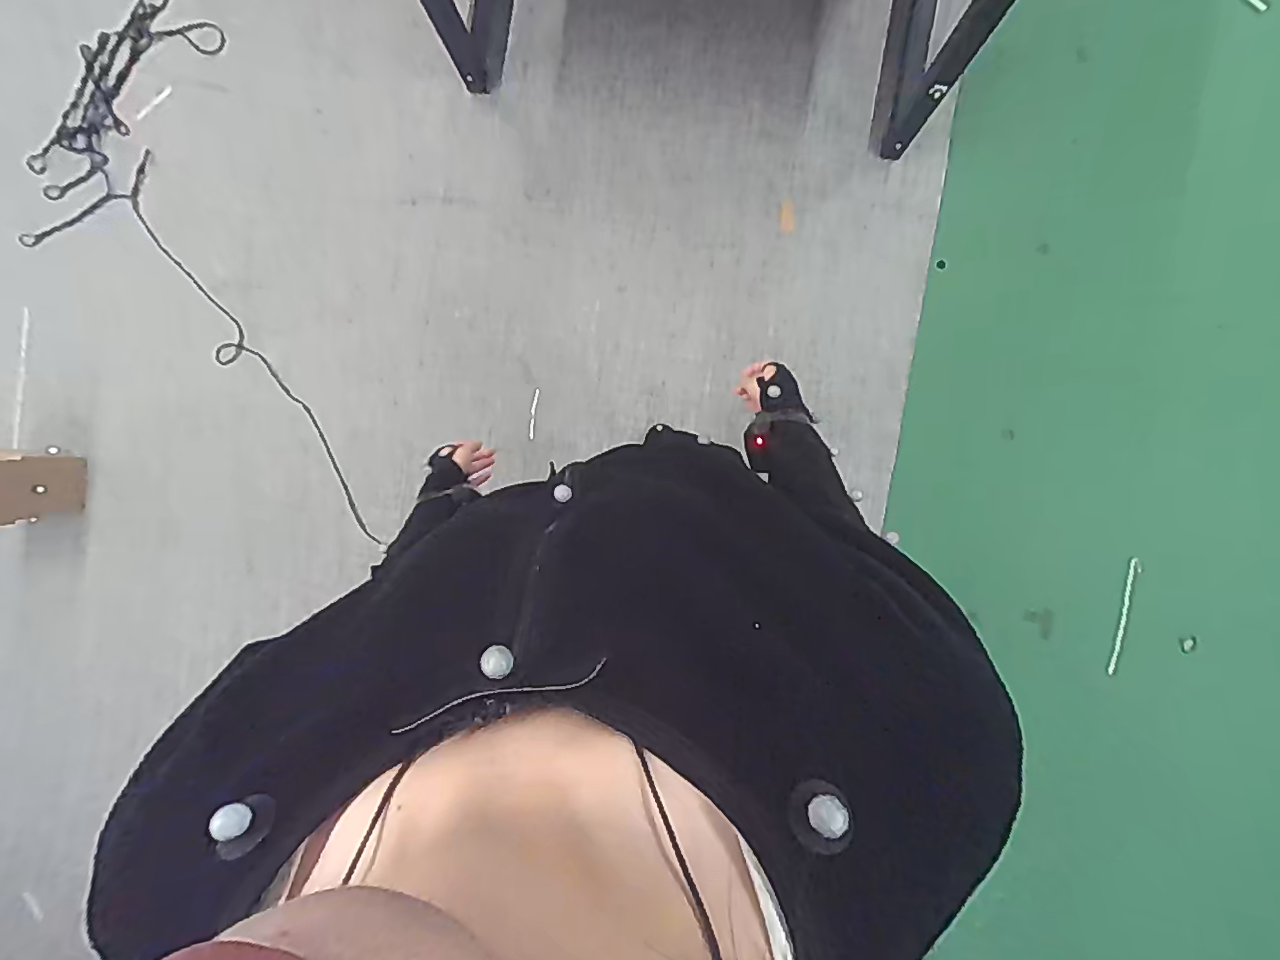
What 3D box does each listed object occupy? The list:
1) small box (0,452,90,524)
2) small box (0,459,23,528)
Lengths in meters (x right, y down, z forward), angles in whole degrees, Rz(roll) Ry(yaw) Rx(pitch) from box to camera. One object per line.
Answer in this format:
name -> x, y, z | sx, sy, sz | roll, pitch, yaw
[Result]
small box -> -1.704, 0.019, 1.512 | 0.168, 0.176, 0.179 | 8, 91, 3
small box -> -1.715, 0.033, 1.349 | 0.168, 0.176, 0.179 | 8, 92, 2
